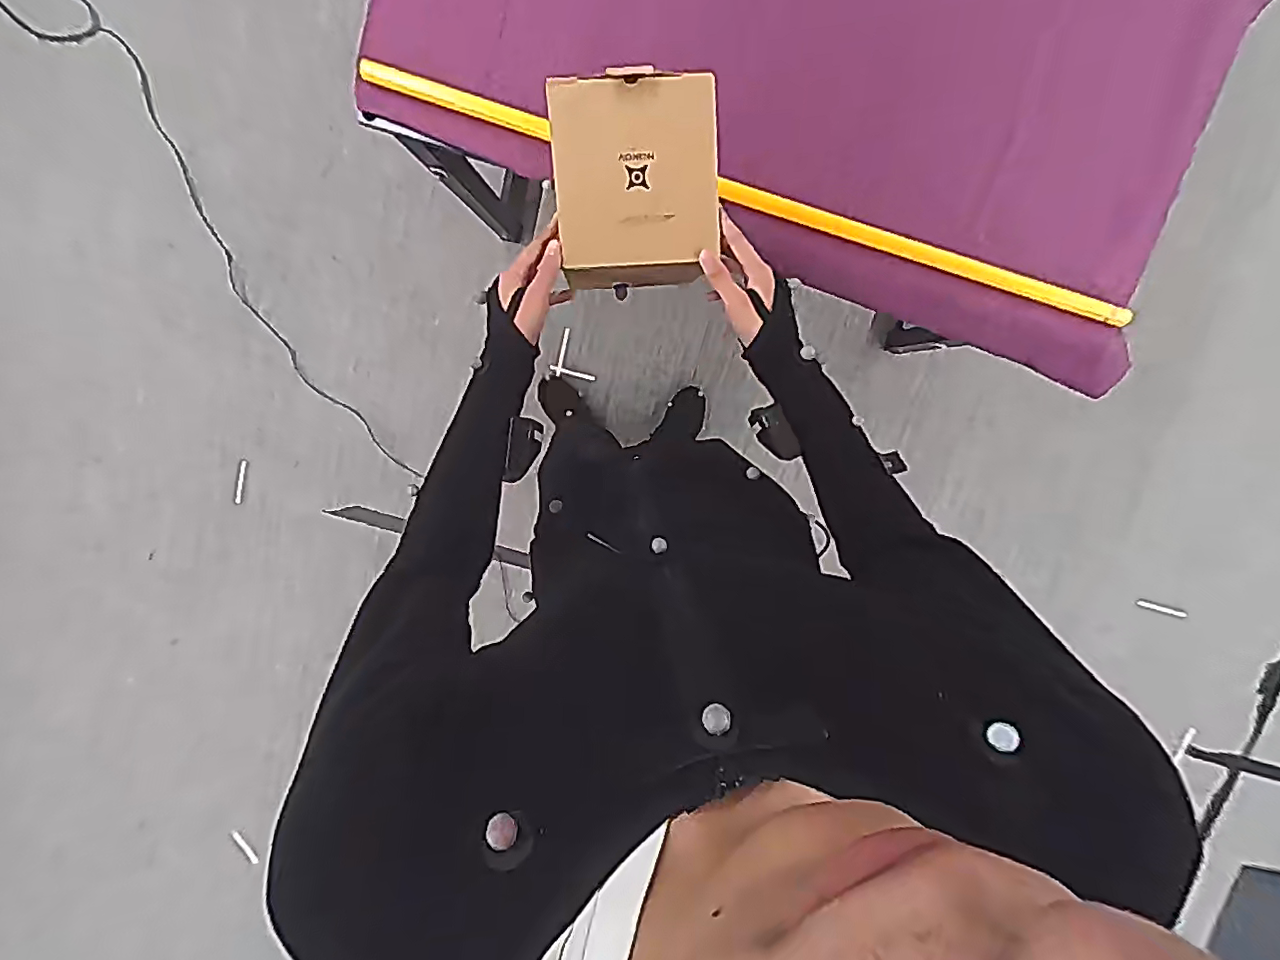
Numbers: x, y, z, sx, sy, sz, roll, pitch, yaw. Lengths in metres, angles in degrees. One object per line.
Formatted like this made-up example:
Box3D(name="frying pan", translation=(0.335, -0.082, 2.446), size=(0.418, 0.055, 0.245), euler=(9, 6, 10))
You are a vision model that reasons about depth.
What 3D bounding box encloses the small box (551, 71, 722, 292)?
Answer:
Box3D(name="small box", translation=(-0.008, -0.320, 0.611), size=(0.168, 0.176, 0.179), euler=(-4, 101, -4))
